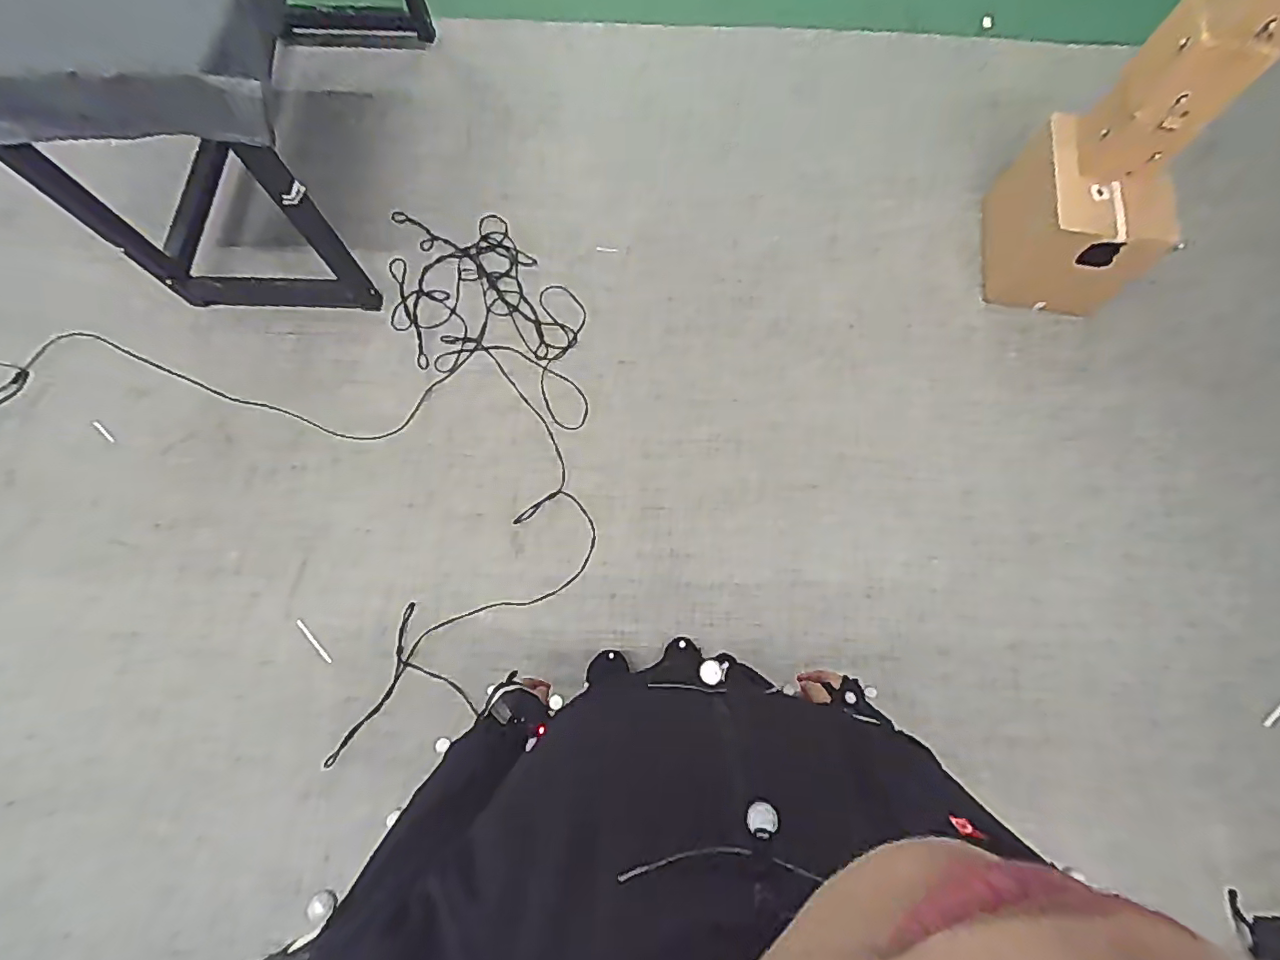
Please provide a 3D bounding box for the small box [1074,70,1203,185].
[{"bbox_3d":[1.243,-0.880,1.362,0.168,0.176,0.179,9,72,1],"label":"small box"}]

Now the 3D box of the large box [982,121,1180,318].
[{"bbox_3d":[1.245,-0.743,1.573,0.320,0.320,0.408,8,74,3],"label":"large box"}]

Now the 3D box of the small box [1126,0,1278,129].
[{"bbox_3d":[1.239,-0.935,1.209,0.168,0.176,0.179,10,74,1],"label":"small box"}]
